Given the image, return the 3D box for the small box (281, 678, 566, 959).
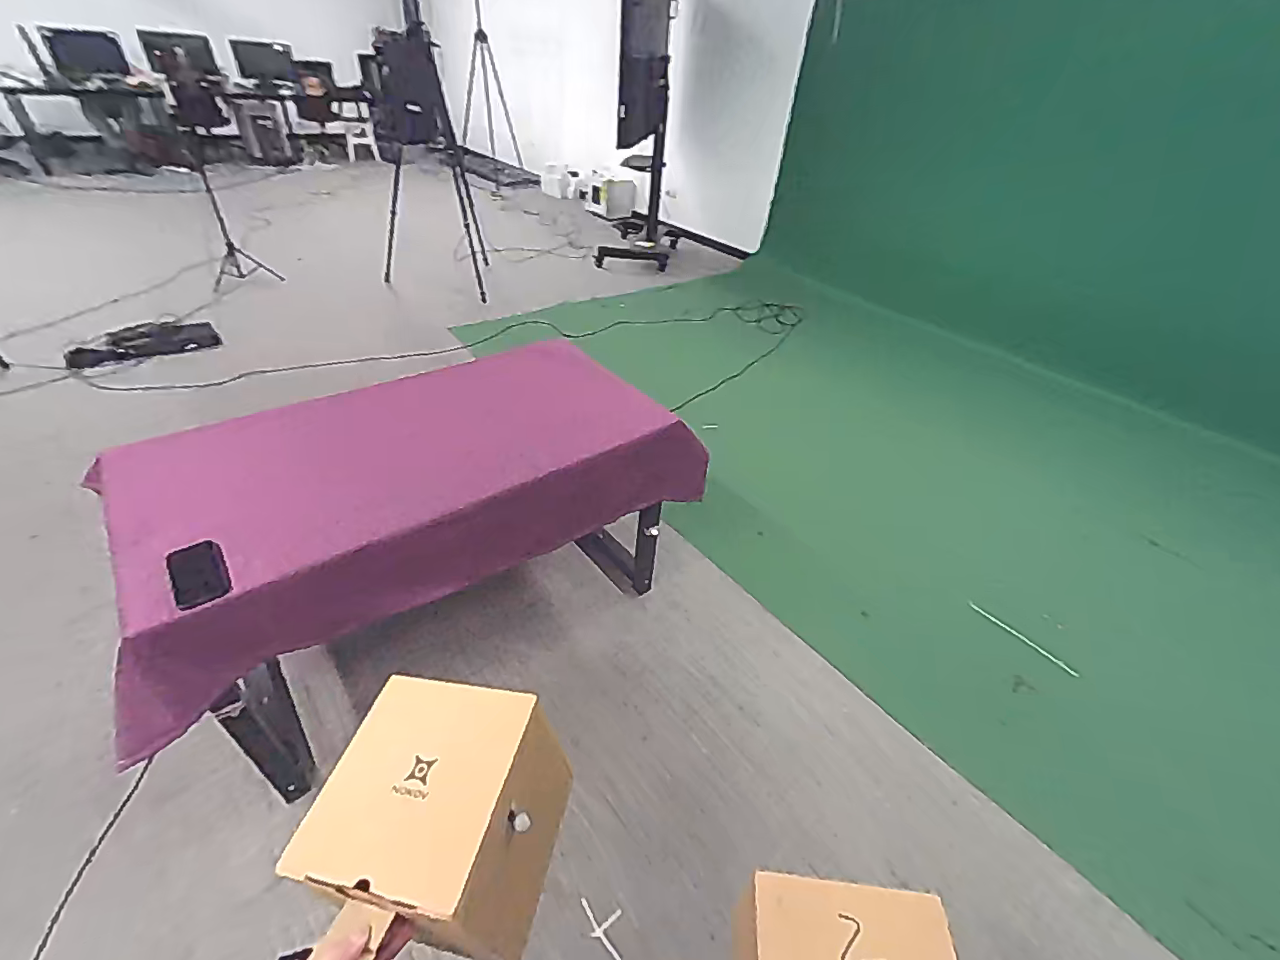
[{"bbox_3d":[-0.181,0.324,0.521,0.168,0.176,0.179,3,41,14],"label":"small box"}]
